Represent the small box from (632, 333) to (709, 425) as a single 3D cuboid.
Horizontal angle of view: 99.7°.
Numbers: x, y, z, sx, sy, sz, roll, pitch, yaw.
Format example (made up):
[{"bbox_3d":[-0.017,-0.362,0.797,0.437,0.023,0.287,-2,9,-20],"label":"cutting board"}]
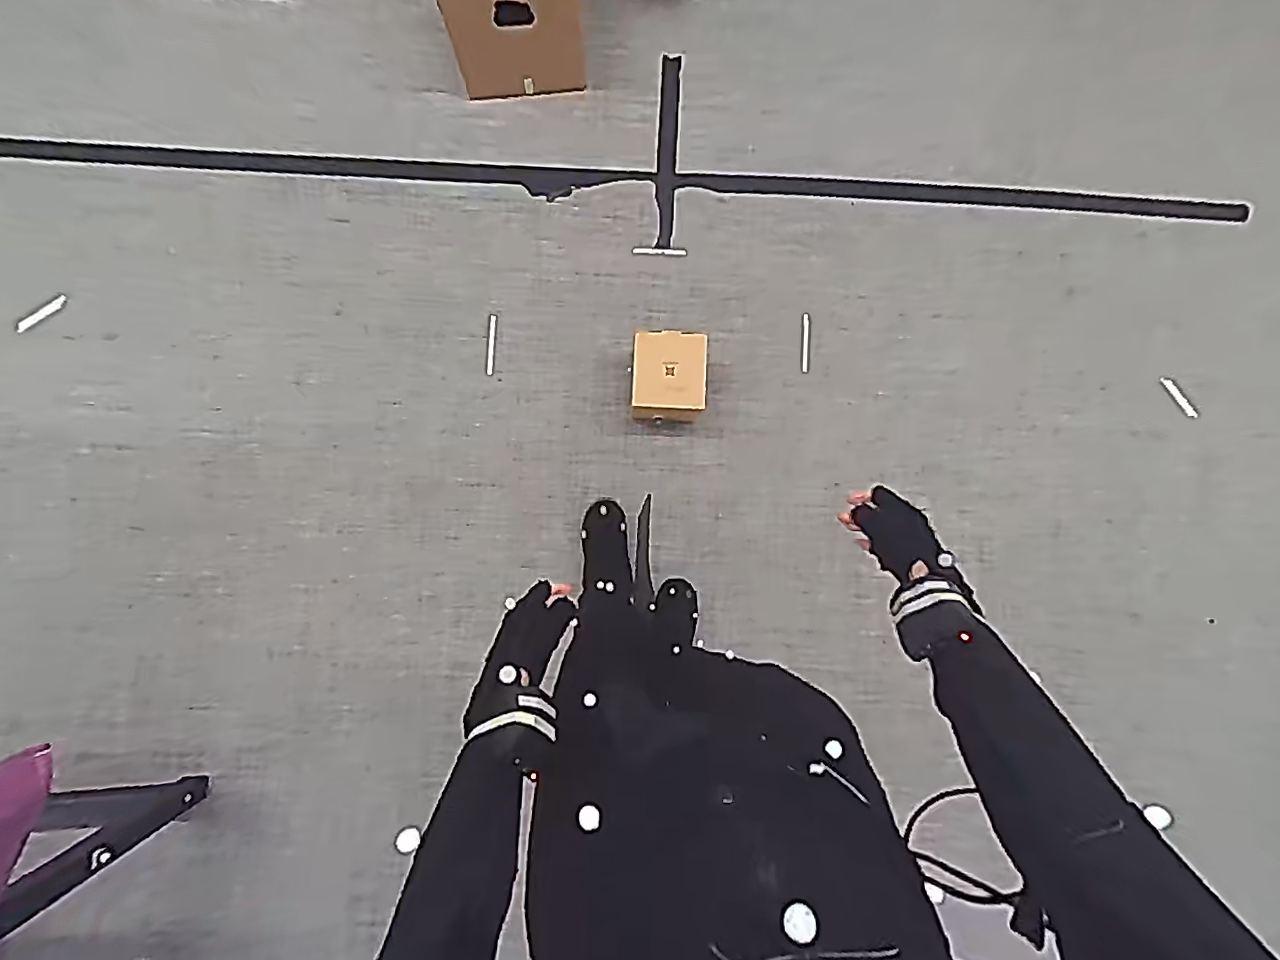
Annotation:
[{"bbox_3d":[0.068,-0.236,1.295,0.168,0.176,0.179,2,87,-1],"label":"small box"}]
